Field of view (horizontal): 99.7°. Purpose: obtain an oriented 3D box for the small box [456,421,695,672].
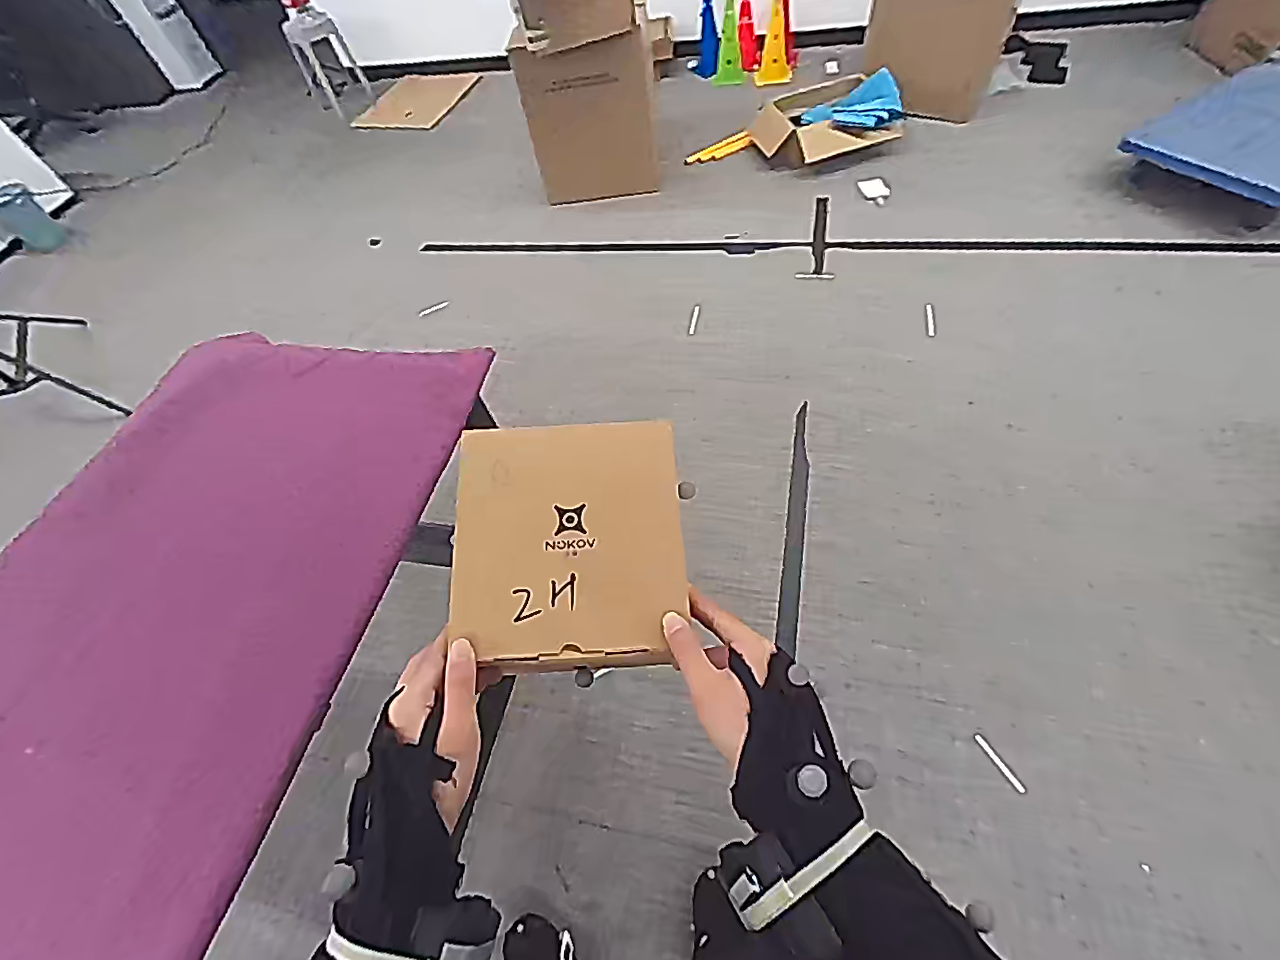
[{"bbox_3d":[-0.048,0.066,0.472,0.168,0.176,0.179,-3,67,-1],"label":"small box"}]
